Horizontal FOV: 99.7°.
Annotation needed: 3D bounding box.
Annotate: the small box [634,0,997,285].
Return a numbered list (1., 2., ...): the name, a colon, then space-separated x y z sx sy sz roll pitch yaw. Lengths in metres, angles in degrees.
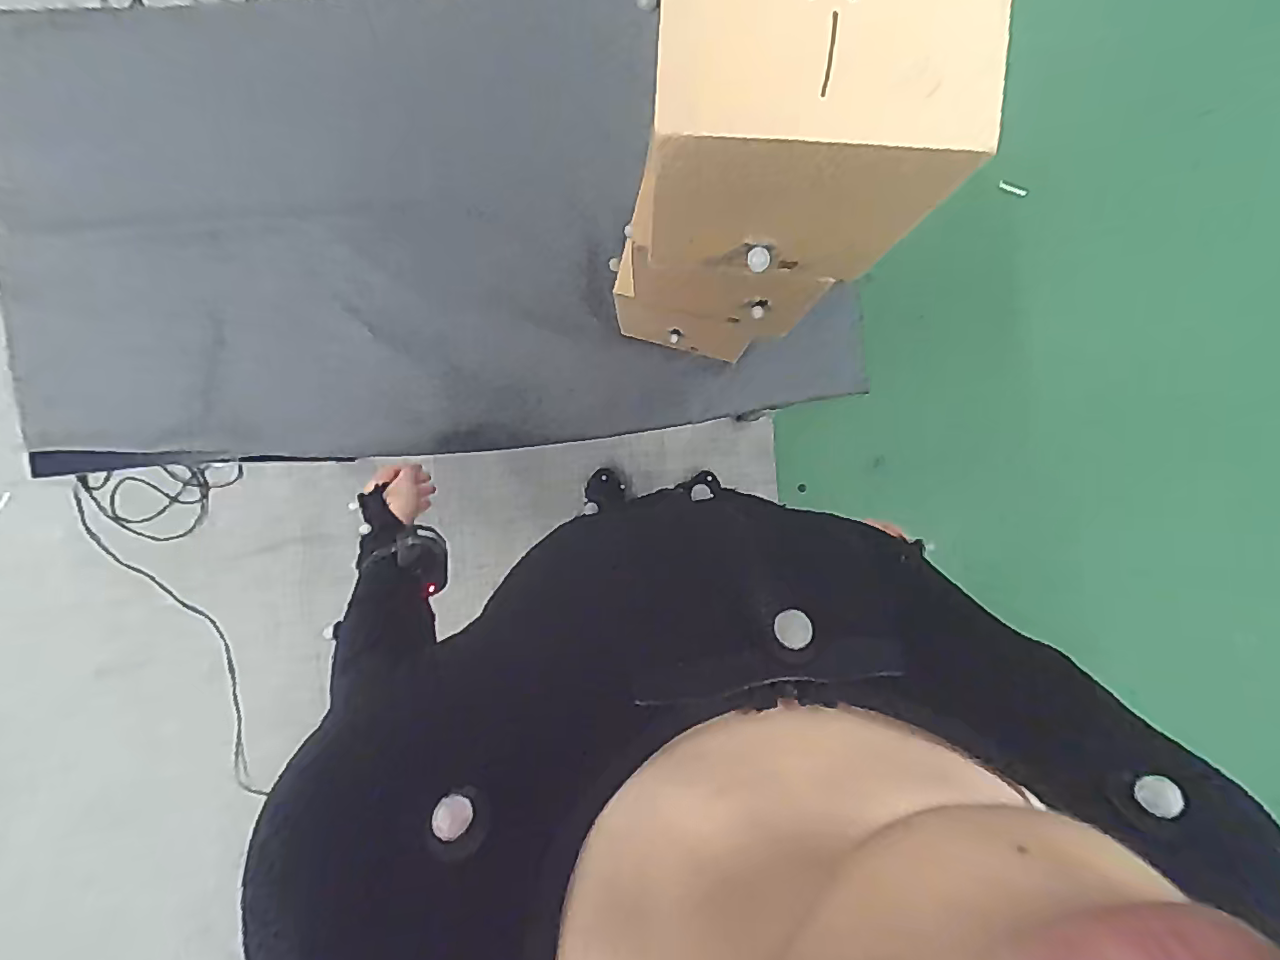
1. small box: 0.084 -0.238 0.329 0.168 0.176 0.179 3 91 1

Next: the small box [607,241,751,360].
1. small box: 0.067 -0.259 0.656 0.168 0.176 0.179 14 90 1

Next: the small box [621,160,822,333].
1. small box: 0.081 -0.247 0.494 0.168 0.176 0.179 9 90 0
